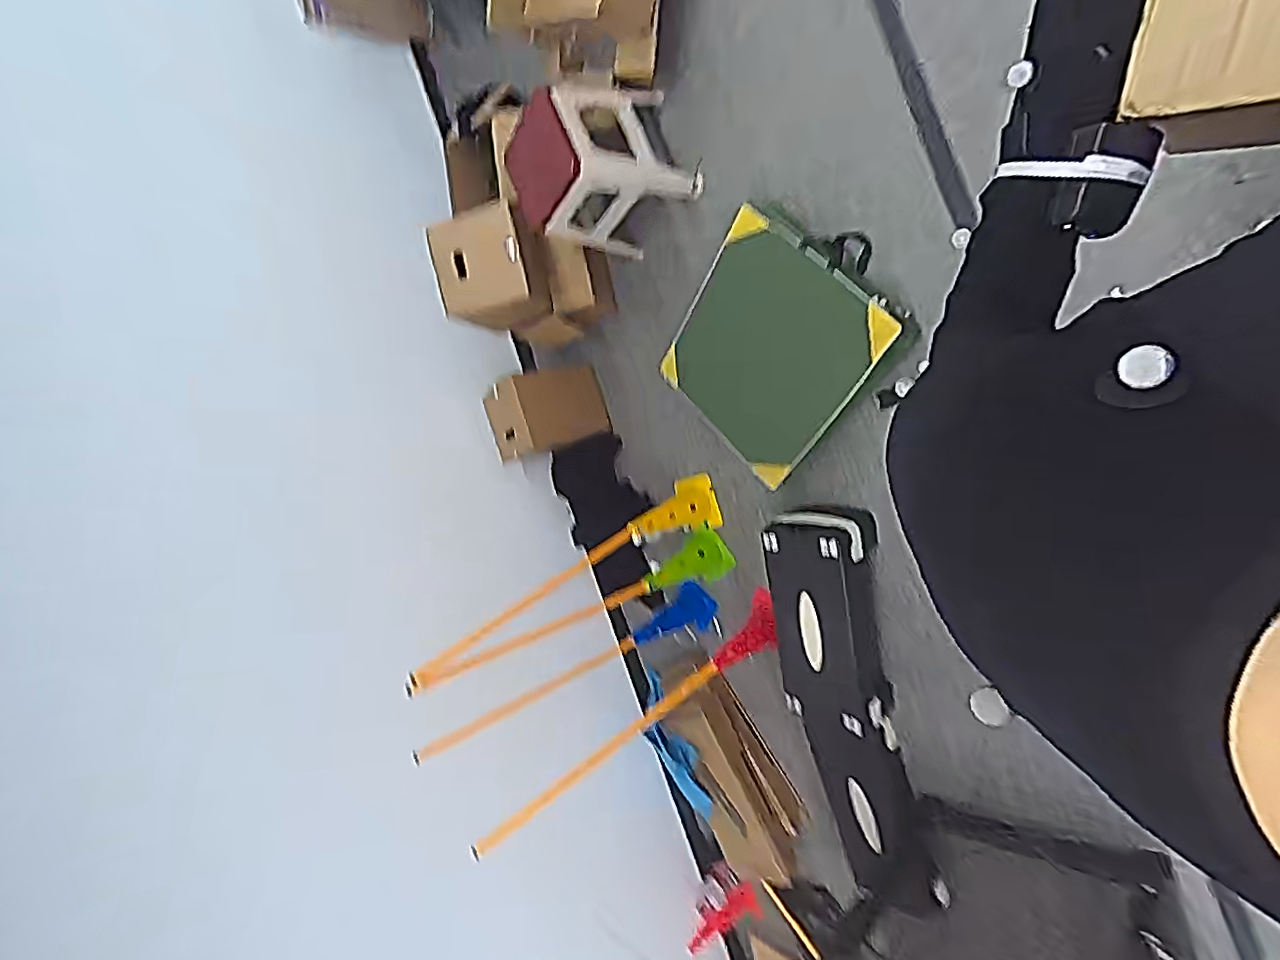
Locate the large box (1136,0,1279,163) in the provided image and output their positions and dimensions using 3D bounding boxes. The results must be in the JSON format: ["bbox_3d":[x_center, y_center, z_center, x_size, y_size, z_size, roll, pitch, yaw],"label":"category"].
[{"bbox_3d":[0.573,-0.372,0.273,0.408,0.320,0.320,21,123,41],"label":"large box"}]
